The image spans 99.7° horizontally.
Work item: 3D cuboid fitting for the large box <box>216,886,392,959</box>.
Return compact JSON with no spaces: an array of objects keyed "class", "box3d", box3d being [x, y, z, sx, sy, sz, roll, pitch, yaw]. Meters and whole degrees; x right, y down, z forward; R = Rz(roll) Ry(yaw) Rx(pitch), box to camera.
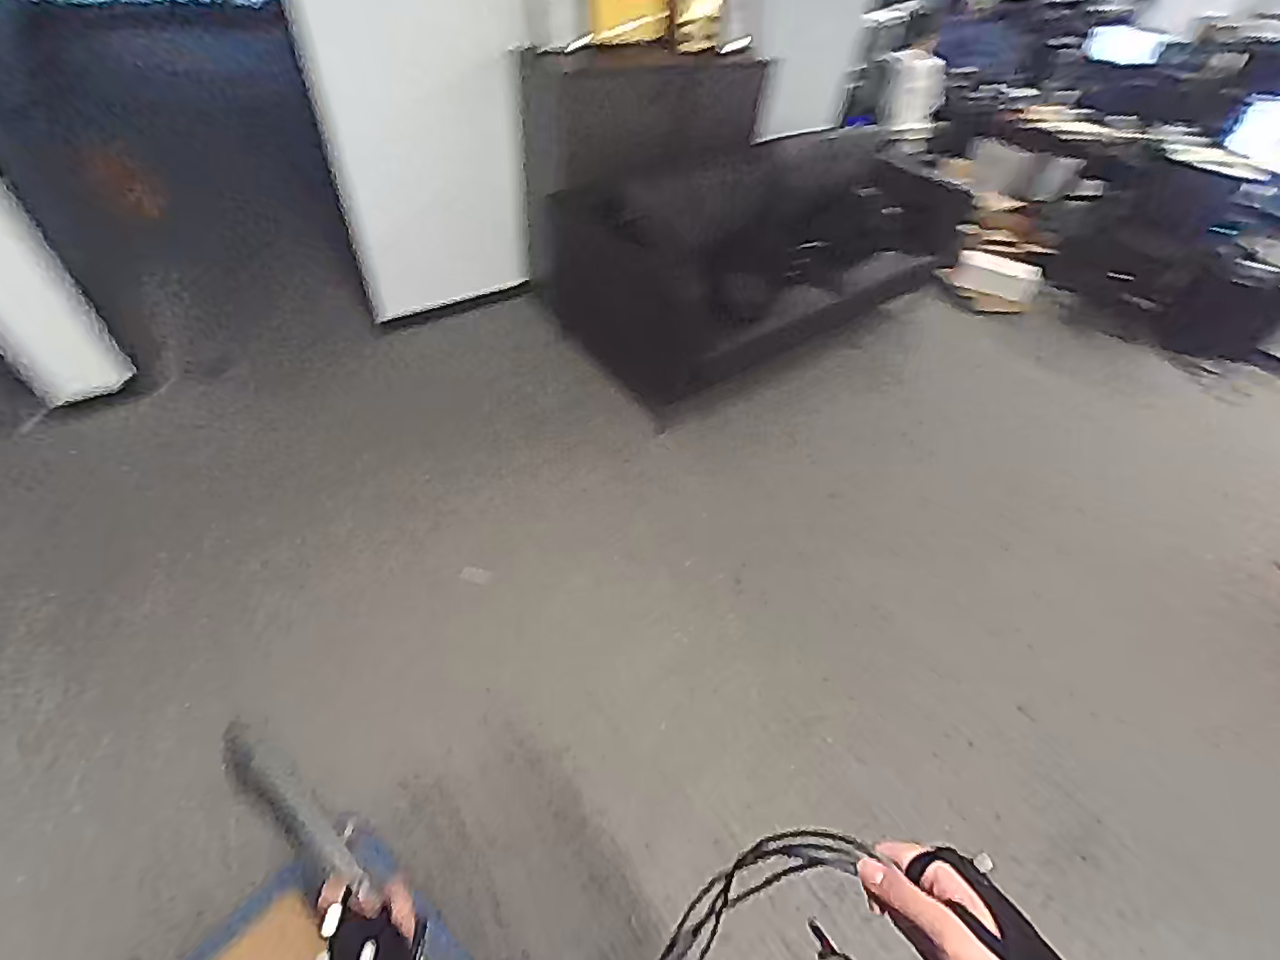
[{"class":"large box","box3d":[-0.578,0.928,0.813,0.320,0.320,0.408,37,53,22]}]
